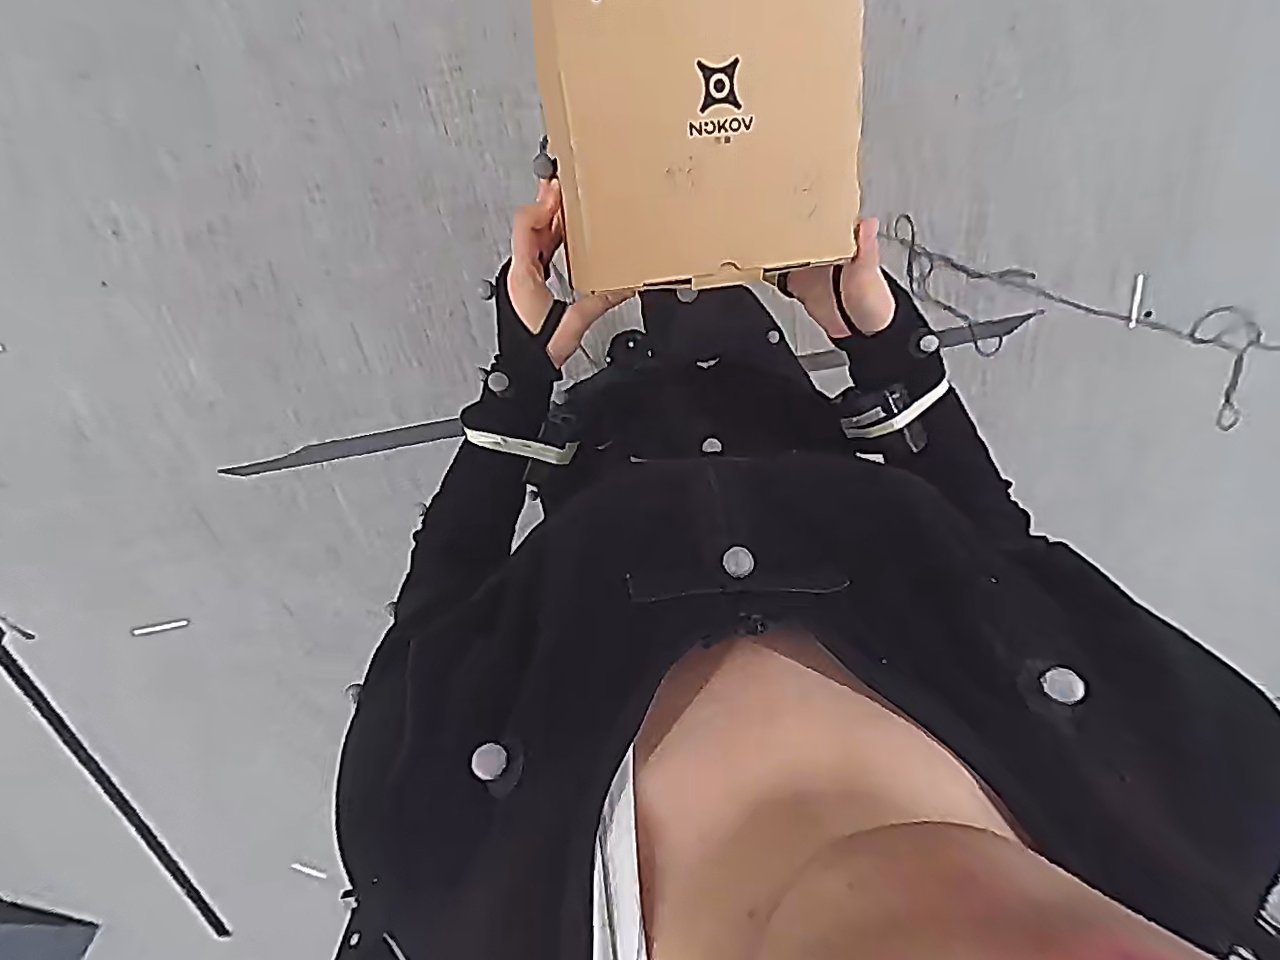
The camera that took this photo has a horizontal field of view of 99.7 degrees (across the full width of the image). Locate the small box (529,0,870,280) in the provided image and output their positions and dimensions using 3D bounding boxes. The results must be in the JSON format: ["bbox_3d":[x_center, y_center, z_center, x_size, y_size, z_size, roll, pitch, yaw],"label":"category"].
[{"bbox_3d":[0.026,-0.234,0.352,0.168,0.176,0.179,-11,113,-9],"label":"small box"}]
